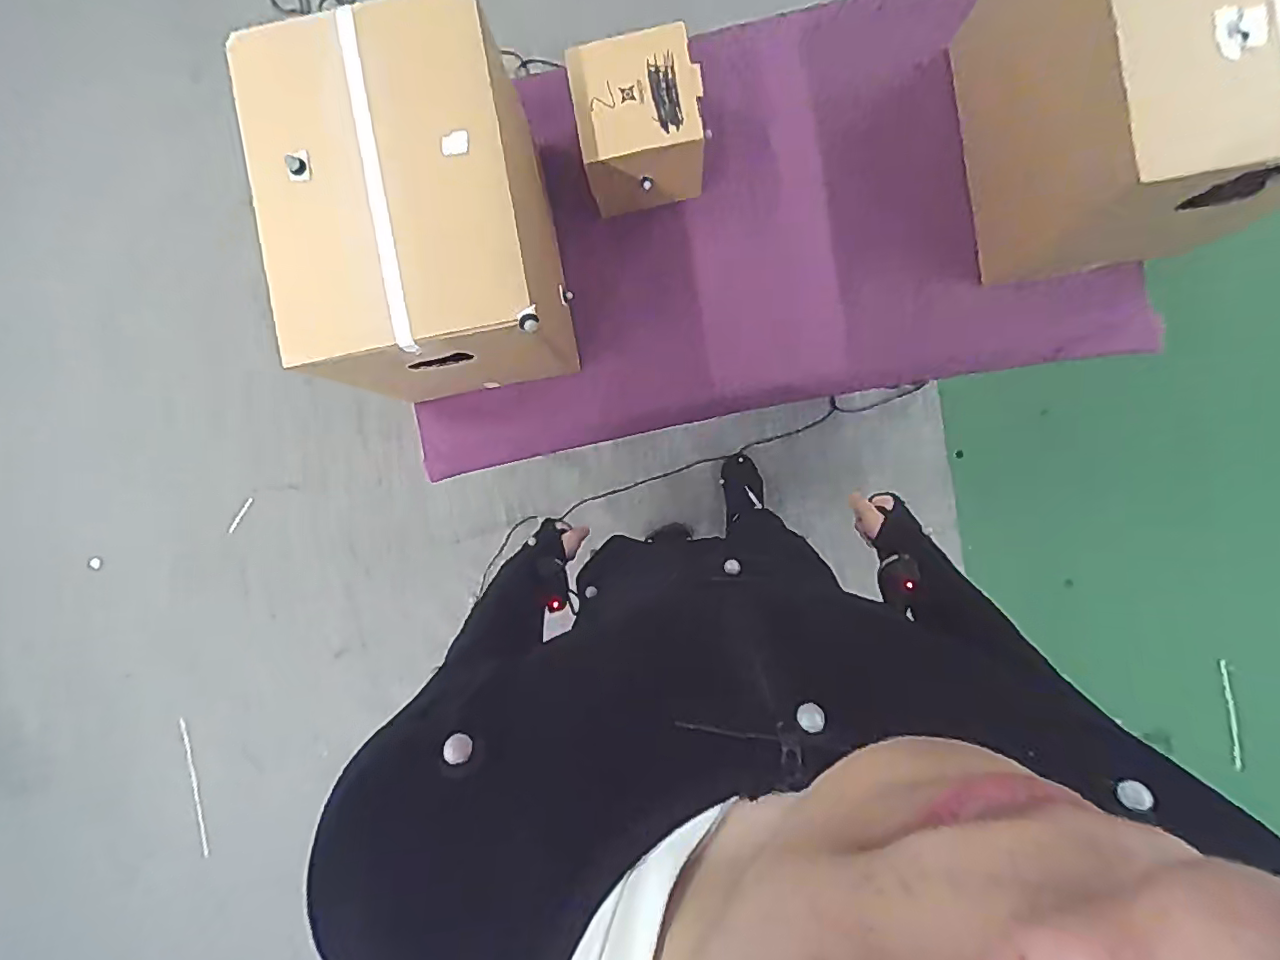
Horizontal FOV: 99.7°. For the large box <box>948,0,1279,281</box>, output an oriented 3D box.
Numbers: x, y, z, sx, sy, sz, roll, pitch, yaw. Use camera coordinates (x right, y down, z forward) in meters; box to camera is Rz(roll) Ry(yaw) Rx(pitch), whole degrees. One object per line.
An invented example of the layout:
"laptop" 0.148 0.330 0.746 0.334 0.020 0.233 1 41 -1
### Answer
"large box" 0.660 -0.533 0.711 0.320 0.320 0.408 -9 90 6
